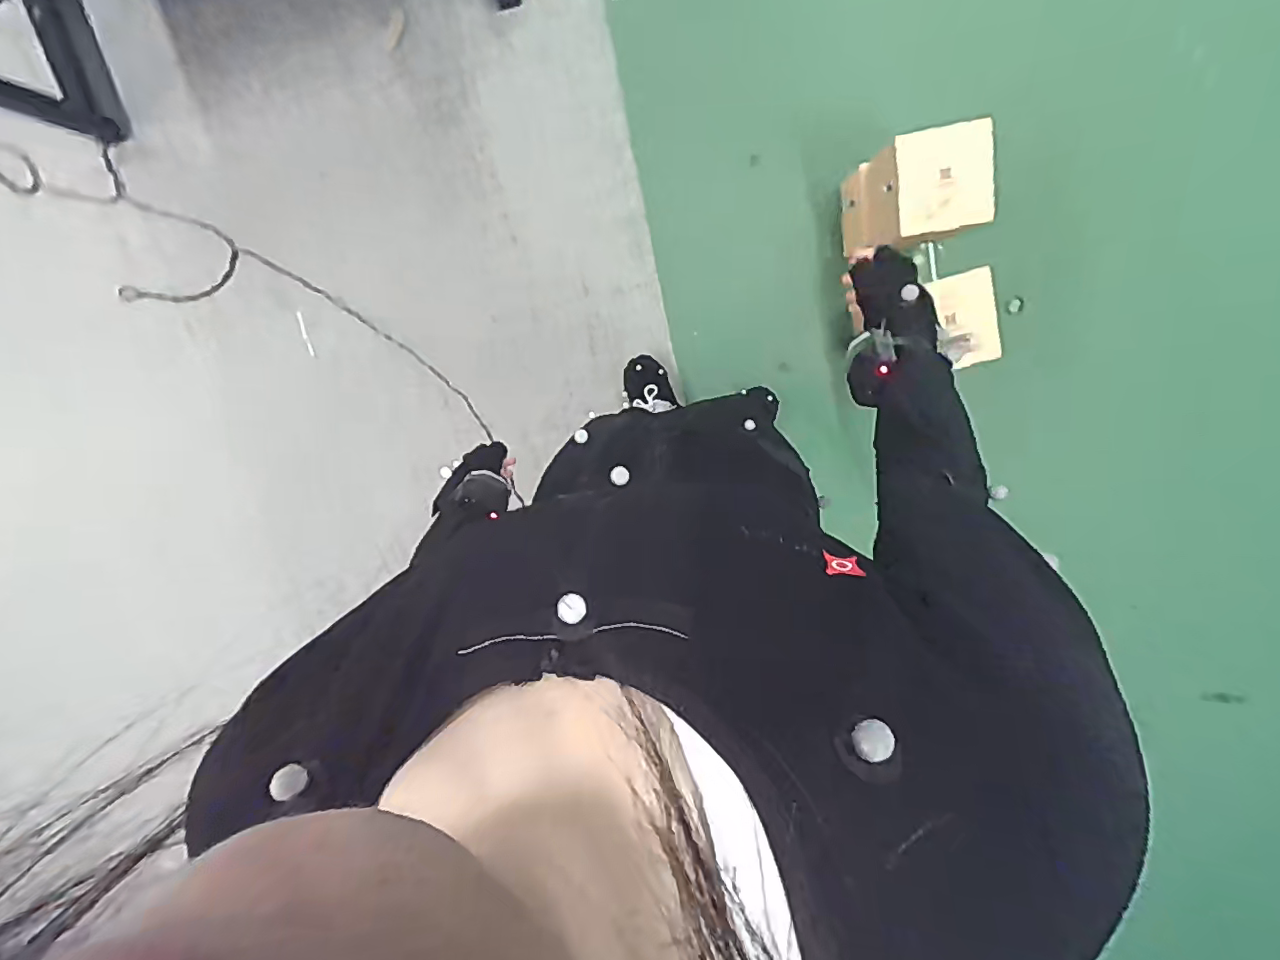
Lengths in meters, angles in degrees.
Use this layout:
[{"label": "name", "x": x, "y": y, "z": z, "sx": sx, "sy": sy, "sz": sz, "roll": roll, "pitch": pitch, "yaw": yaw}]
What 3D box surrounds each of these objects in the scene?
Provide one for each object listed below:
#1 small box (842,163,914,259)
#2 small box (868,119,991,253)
[{"label": "small box", "x": 0.562, "y": -0.609, "z": 1.219, "sx": 0.179, "sy": 0.176, "sz": 0.168, "roll": -6, "pitch": 102, "yaw": 7}, {"label": "small box", "x": 0.558, "y": -0.564, "z": 1.060, "sx": 0.168, "sy": 0.176, "sz": 0.179, "roll": -7, "pitch": 102, "yaw": 7}]
